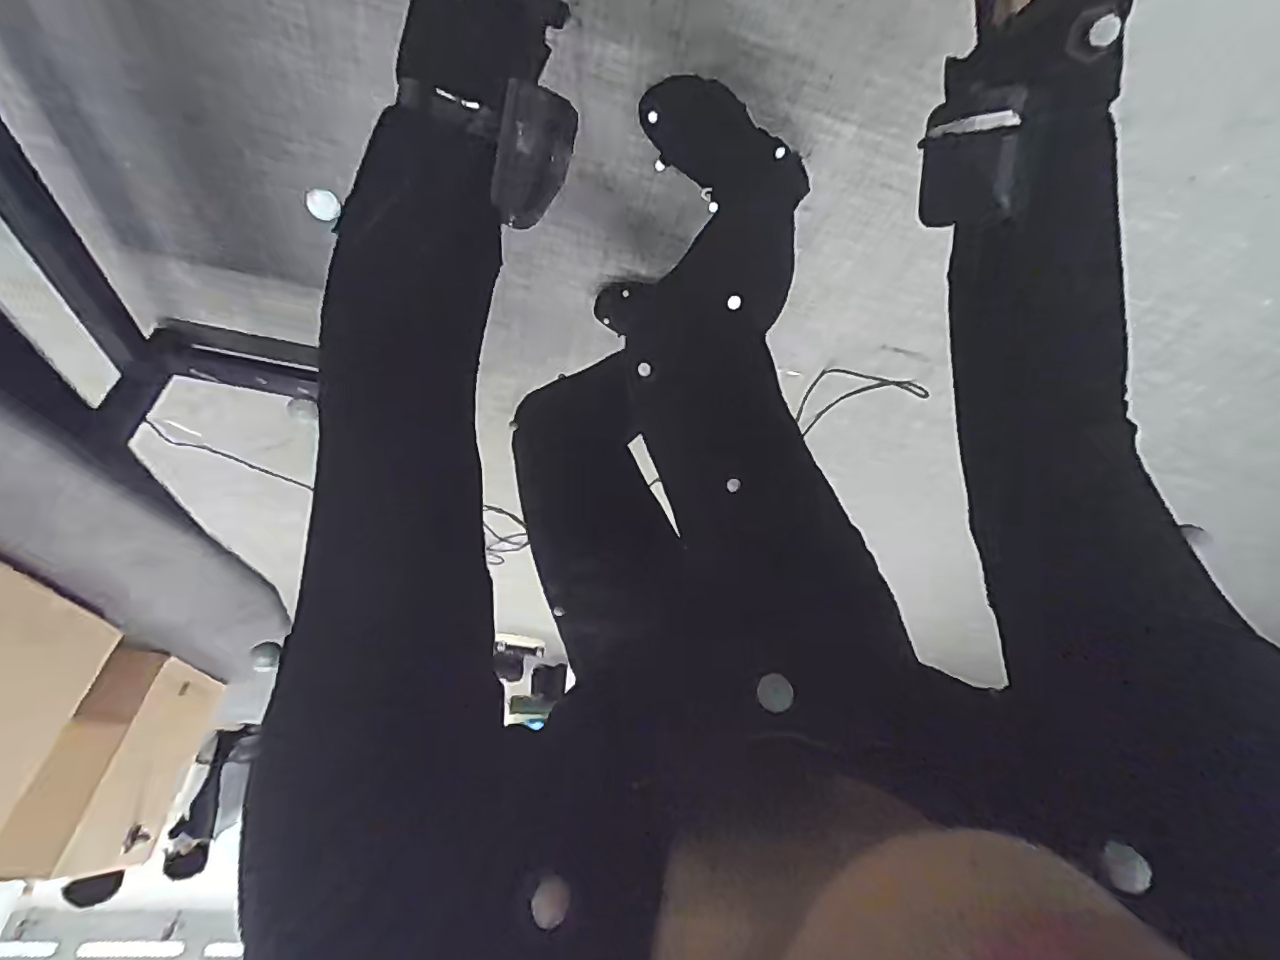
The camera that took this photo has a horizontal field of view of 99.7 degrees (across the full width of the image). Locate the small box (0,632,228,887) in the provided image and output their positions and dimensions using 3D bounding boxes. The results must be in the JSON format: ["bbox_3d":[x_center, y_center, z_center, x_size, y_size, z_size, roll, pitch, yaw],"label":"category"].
[{"bbox_3d":[-0.523,0.243,0.481,0.179,0.176,0.168,14,147,-12],"label":"small box"}]
